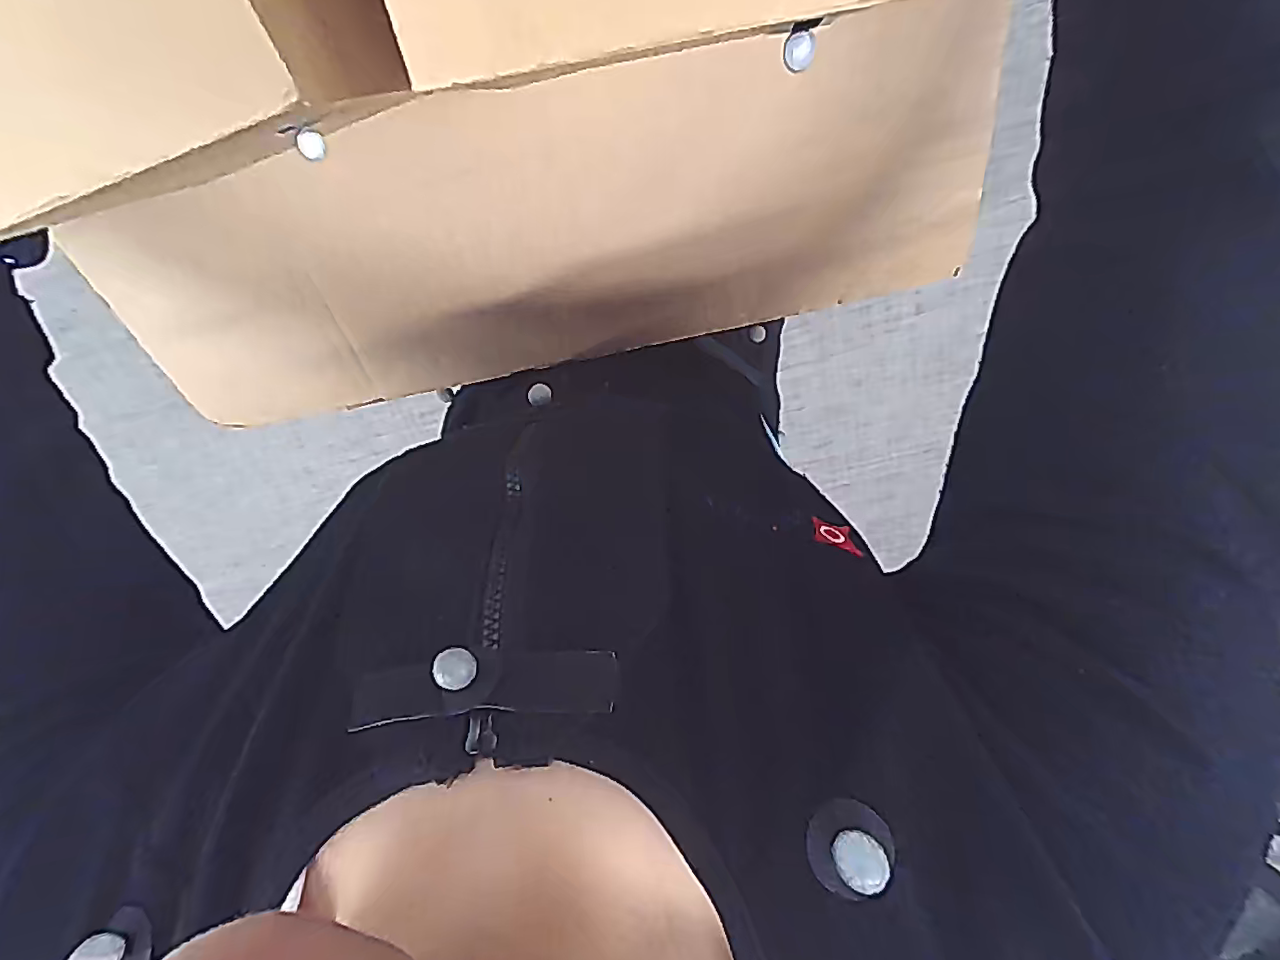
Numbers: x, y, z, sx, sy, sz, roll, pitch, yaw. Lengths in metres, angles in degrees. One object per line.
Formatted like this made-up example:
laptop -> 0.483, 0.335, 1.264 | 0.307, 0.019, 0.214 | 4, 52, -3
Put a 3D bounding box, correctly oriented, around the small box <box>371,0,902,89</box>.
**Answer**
small box -> -0.006, -0.253, 0.192 | 0.179, 0.176, 0.168 | -7, 127, 6
